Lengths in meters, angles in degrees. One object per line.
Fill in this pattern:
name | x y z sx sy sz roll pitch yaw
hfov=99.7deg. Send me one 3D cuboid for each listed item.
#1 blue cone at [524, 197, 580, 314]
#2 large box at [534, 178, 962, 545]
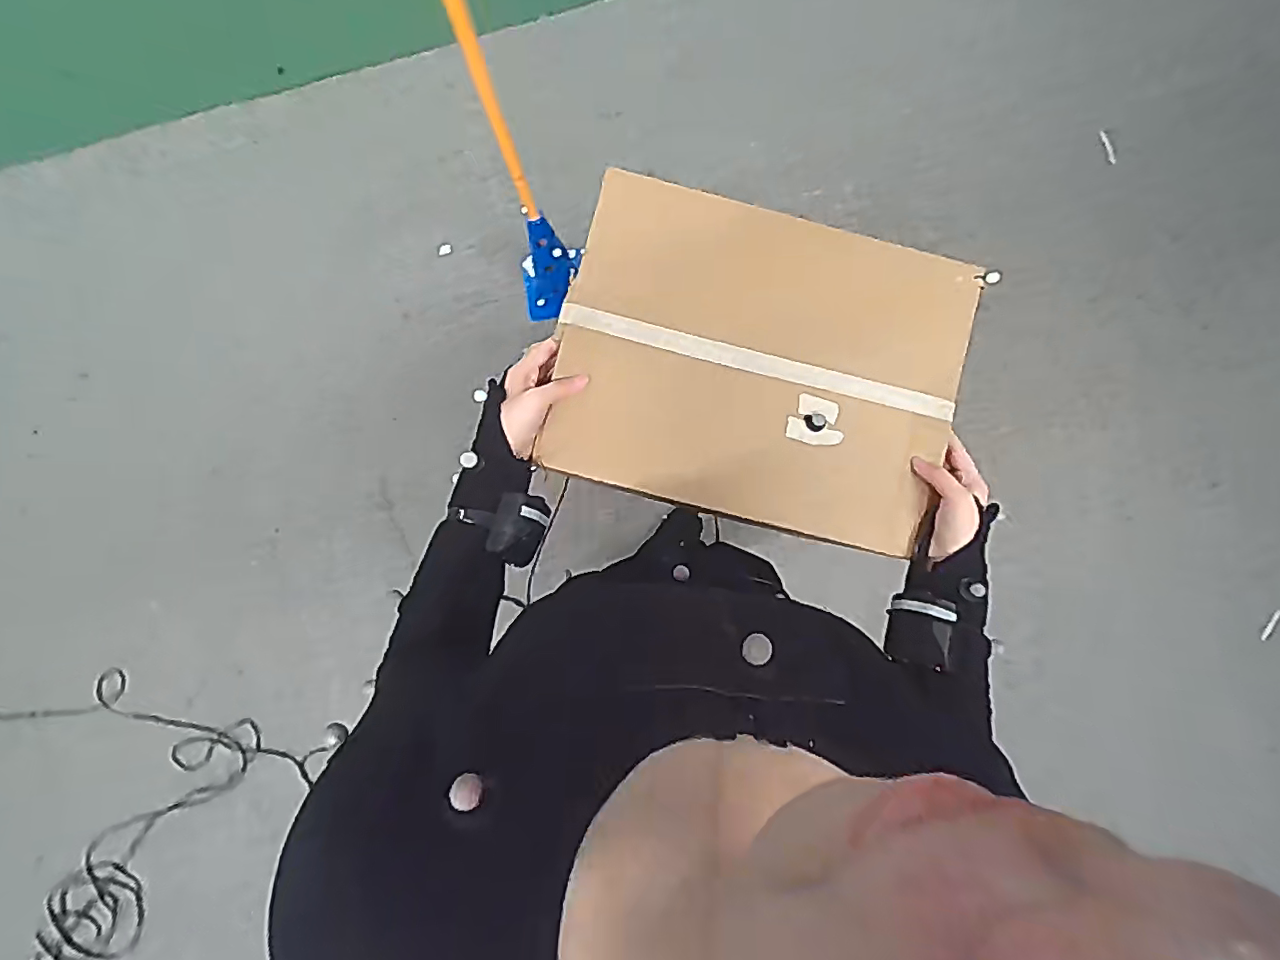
blue cone | -0.240 -0.598 1.414 0.193 0.380 0.192 -6 84 0
large box | 0.107 -0.115 0.702 0.408 0.320 0.320 13 88 -3
